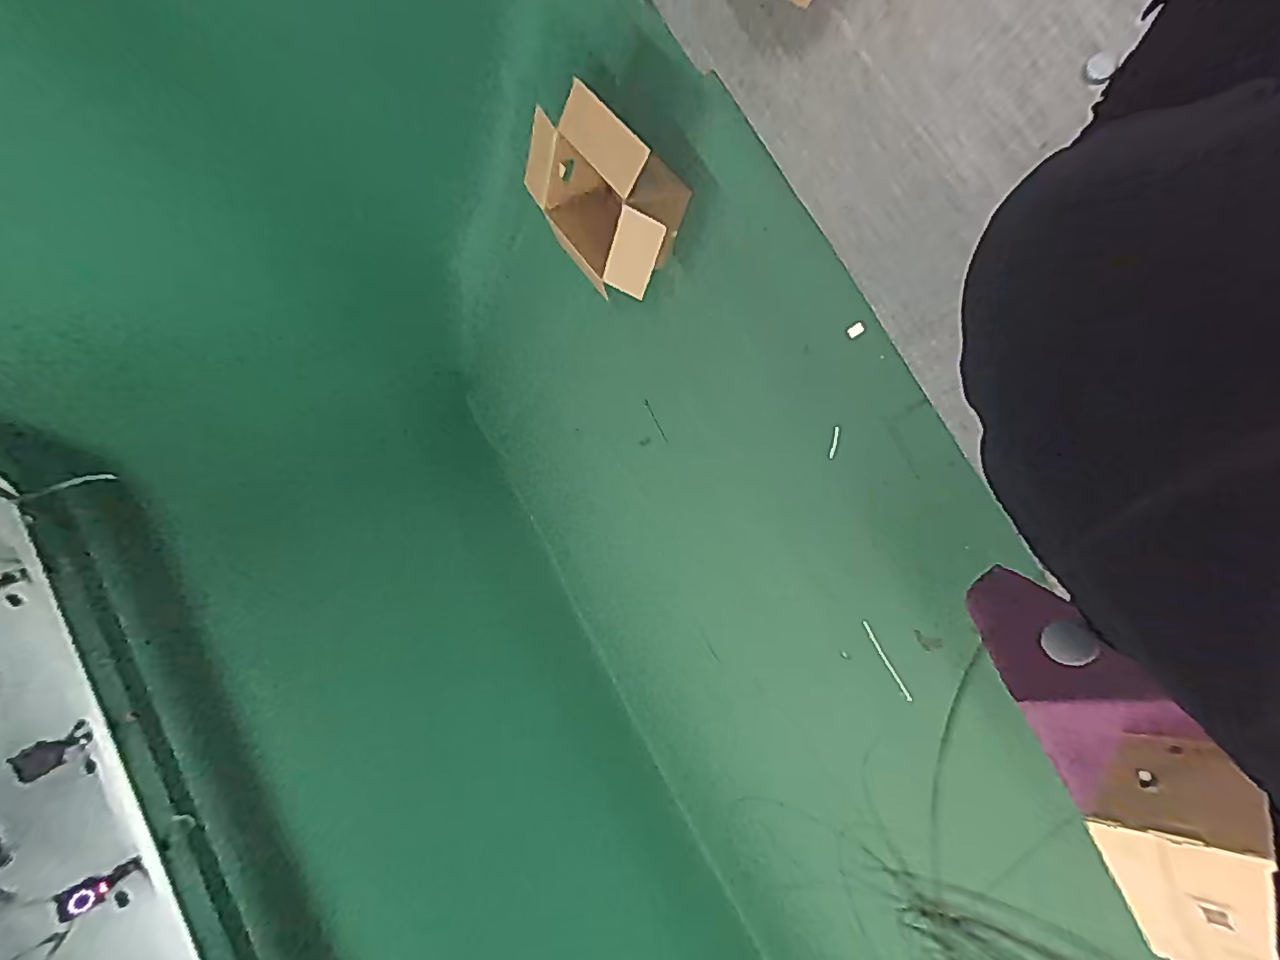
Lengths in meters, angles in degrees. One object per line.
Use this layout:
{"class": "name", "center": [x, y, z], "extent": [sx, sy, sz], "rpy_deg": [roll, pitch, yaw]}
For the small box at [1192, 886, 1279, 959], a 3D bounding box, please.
{"class": "small box", "center": [0.747, 0.603, 0.589], "extent": [0.168, 0.176, 0.179], "rpy_deg": [-26, 89, 58]}
